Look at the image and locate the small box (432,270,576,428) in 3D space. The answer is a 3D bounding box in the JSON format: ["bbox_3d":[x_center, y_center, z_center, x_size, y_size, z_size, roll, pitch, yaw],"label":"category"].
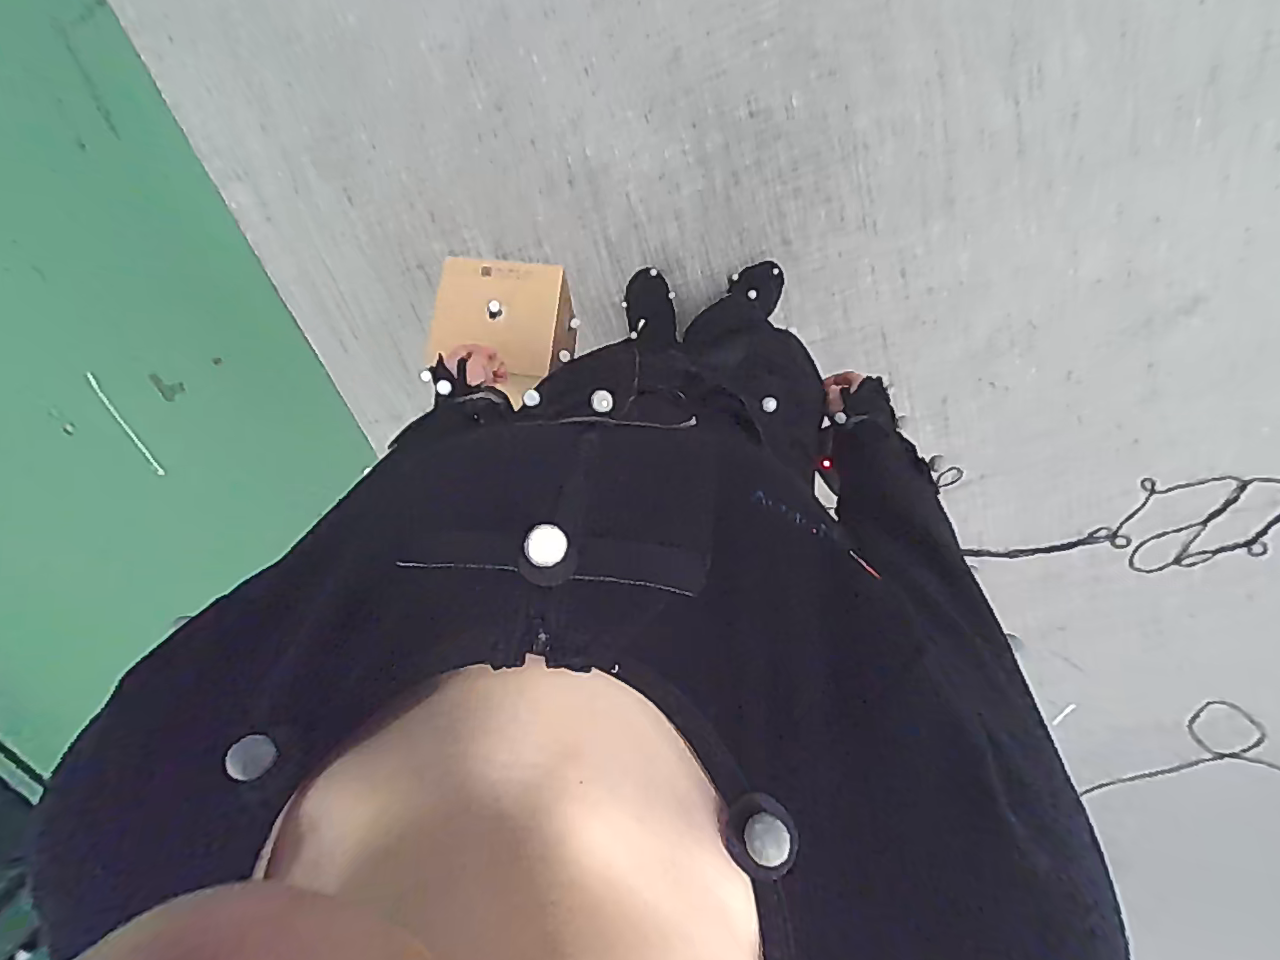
[{"bbox_3d":[-0.190,-0.190,0.804,0.168,0.179,0.176,4,75,0],"label":"small box"}]
